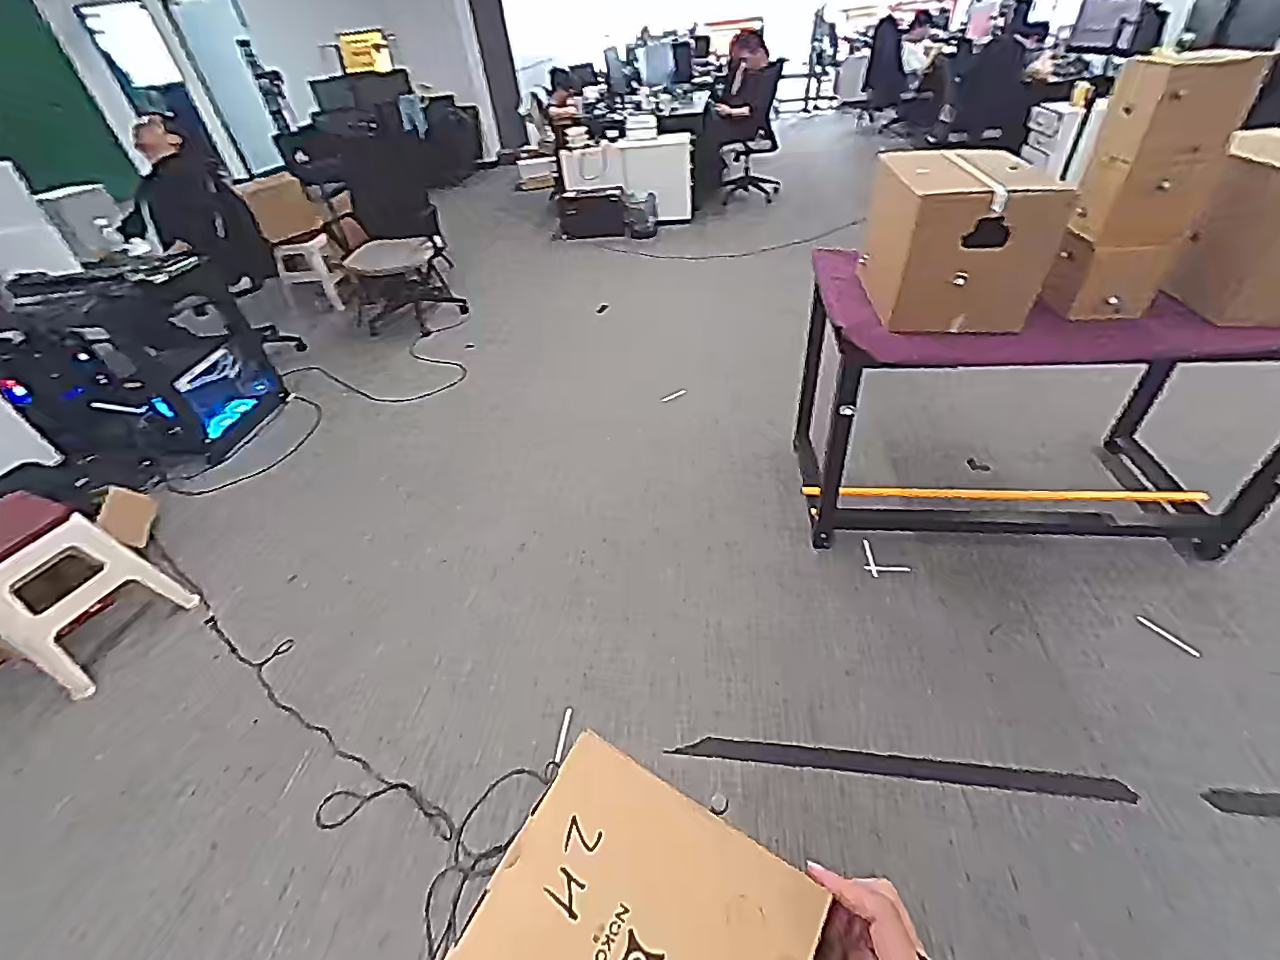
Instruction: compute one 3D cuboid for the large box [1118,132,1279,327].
[{"bbox_3d":[1.446,-0.586,1.250,0.320,0.320,0.408,0,40,8],"label":"large box"}]
